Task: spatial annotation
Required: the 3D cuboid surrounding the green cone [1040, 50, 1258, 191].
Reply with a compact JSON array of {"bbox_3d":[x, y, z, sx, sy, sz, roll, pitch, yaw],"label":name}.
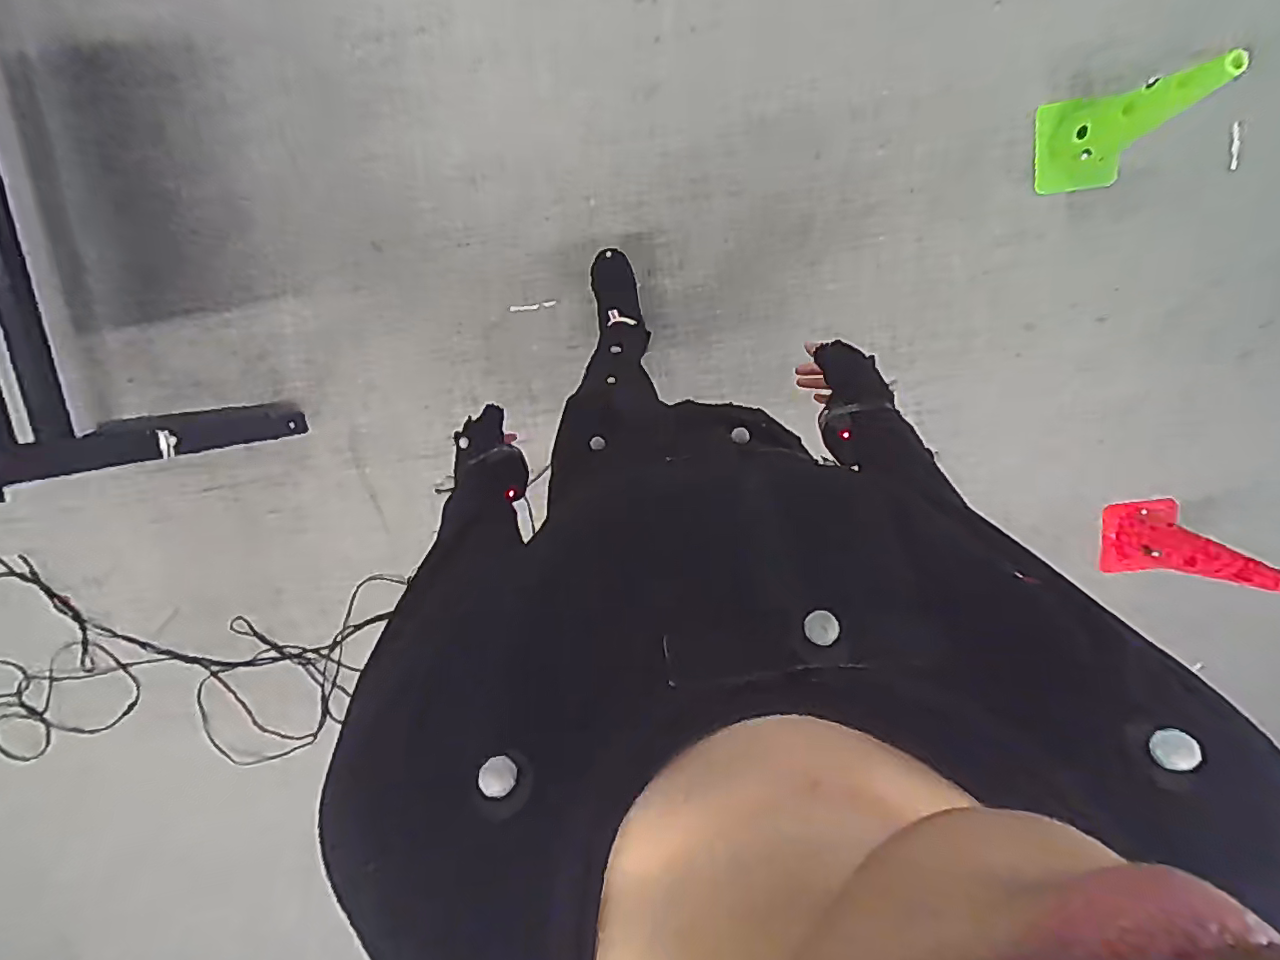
[{"bbox_3d":[1.053,-0.770,1.117,0.200,0.368,0.202,-8,102,1],"label":"green cone"}]
